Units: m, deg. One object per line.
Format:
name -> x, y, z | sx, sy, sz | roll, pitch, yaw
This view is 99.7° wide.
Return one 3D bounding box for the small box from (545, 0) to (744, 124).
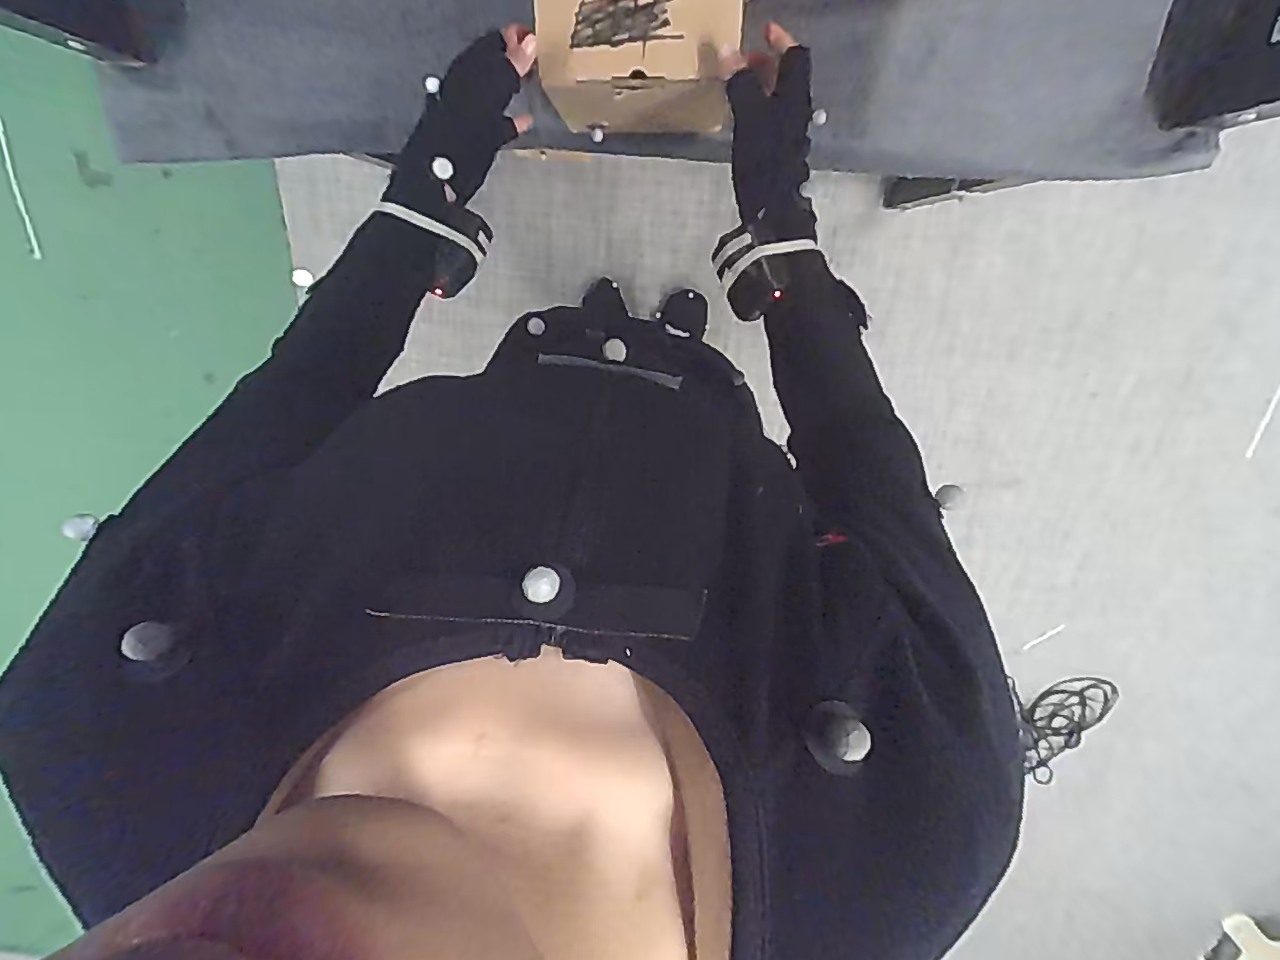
small box -> 0.009, -0.446, 0.498 | 0.168, 0.176, 0.179 | 1, 110, 3
